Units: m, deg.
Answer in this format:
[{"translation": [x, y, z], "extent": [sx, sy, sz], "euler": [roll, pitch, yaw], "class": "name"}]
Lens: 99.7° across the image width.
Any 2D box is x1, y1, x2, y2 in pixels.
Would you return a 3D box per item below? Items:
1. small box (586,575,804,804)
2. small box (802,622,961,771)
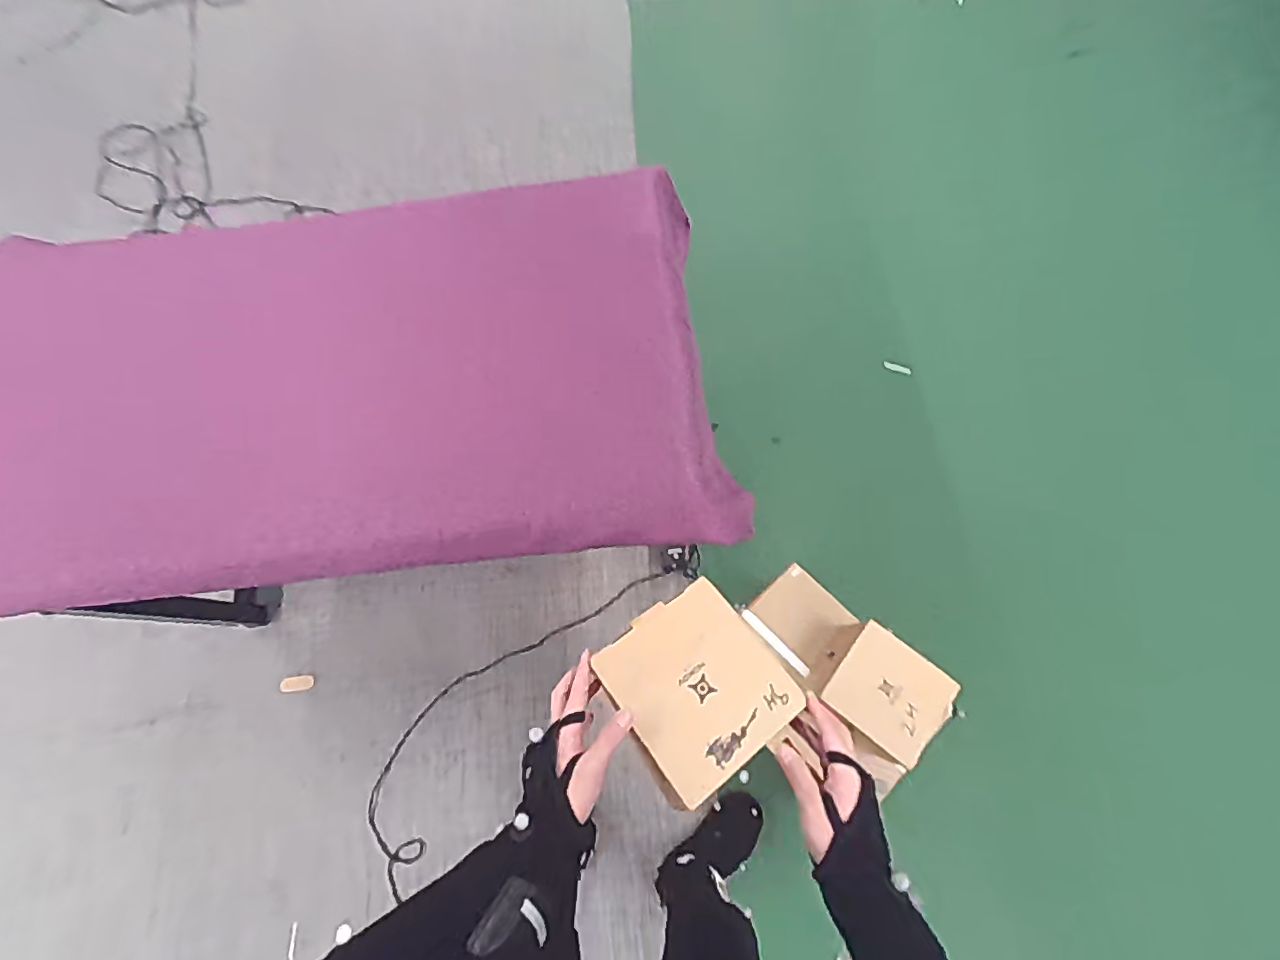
[{"translation": [0.052, 0.248, 0.631], "extent": [0.168, 0.176, 0.179], "euler": [-31, 65, -20], "class": "small box"}, {"translation": [0.418, 0.383, 0.970], "extent": [0.179, 0.176, 0.168], "euler": [38, 76, 14], "class": "small box"}]
